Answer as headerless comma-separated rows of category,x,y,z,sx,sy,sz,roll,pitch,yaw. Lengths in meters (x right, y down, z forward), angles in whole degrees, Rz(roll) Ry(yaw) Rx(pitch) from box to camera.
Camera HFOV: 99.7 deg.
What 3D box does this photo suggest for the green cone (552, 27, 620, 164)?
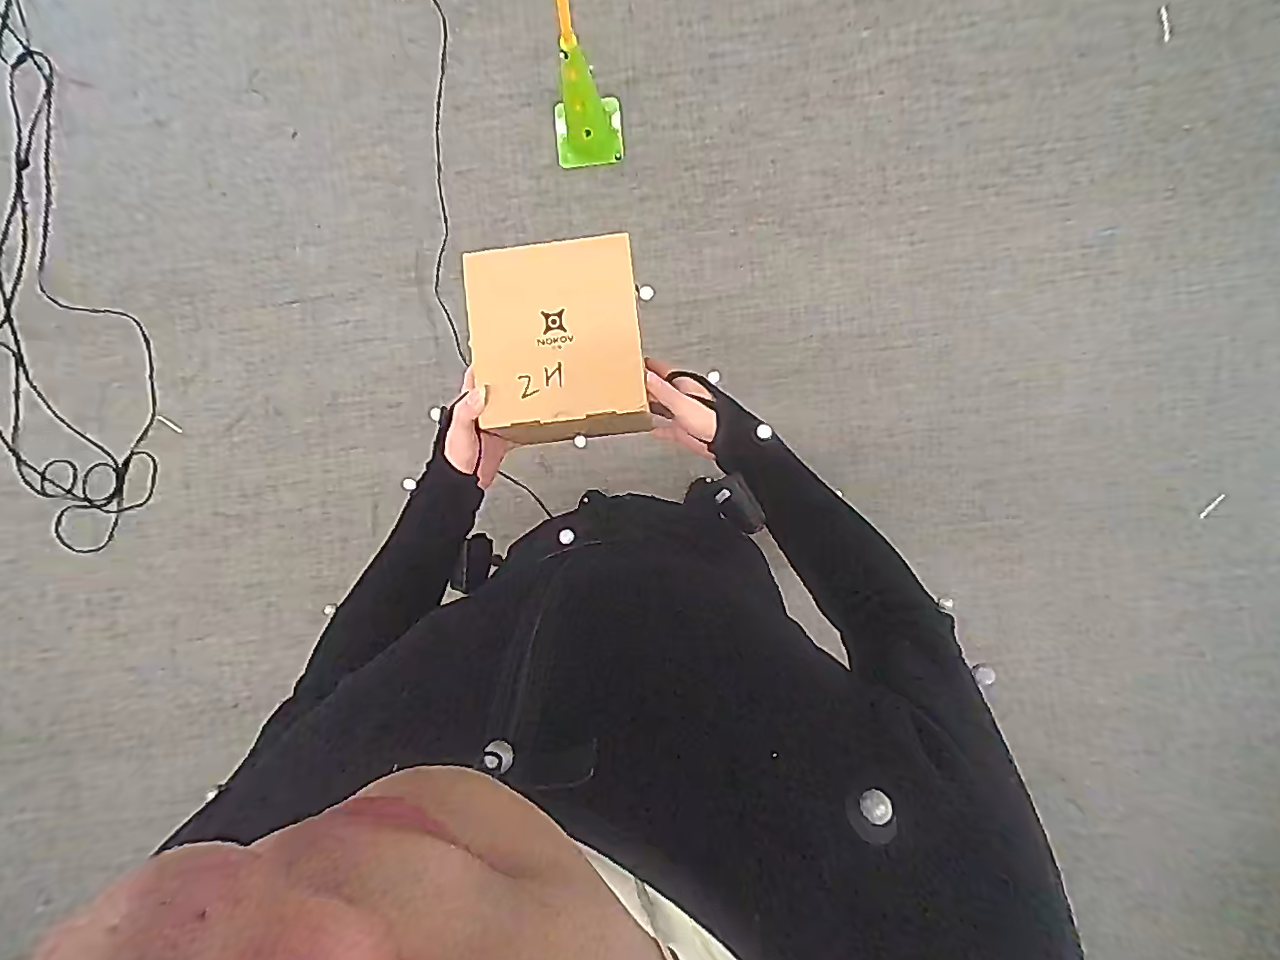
green cone,-0.176,-1.075,1.476,0.202,0.368,0.200,-6,89,4
